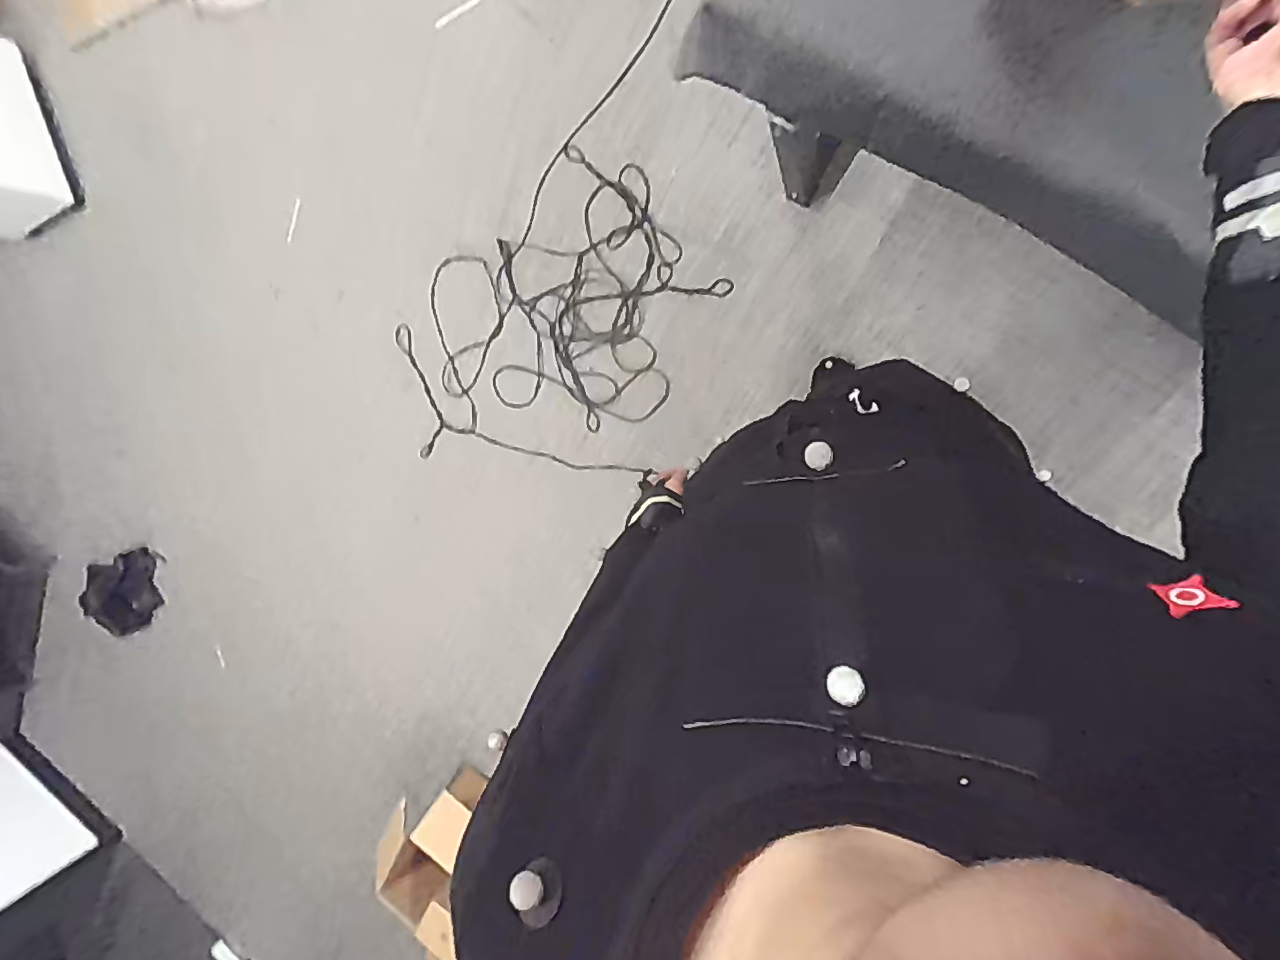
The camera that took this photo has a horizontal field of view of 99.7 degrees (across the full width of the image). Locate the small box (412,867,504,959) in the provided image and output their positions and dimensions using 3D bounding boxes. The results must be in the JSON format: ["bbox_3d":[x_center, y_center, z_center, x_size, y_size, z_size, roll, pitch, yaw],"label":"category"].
[{"bbox_3d":[-0.532,1.312,1.599,0.168,0.176,0.179,31,107,12],"label":"small box"}]
